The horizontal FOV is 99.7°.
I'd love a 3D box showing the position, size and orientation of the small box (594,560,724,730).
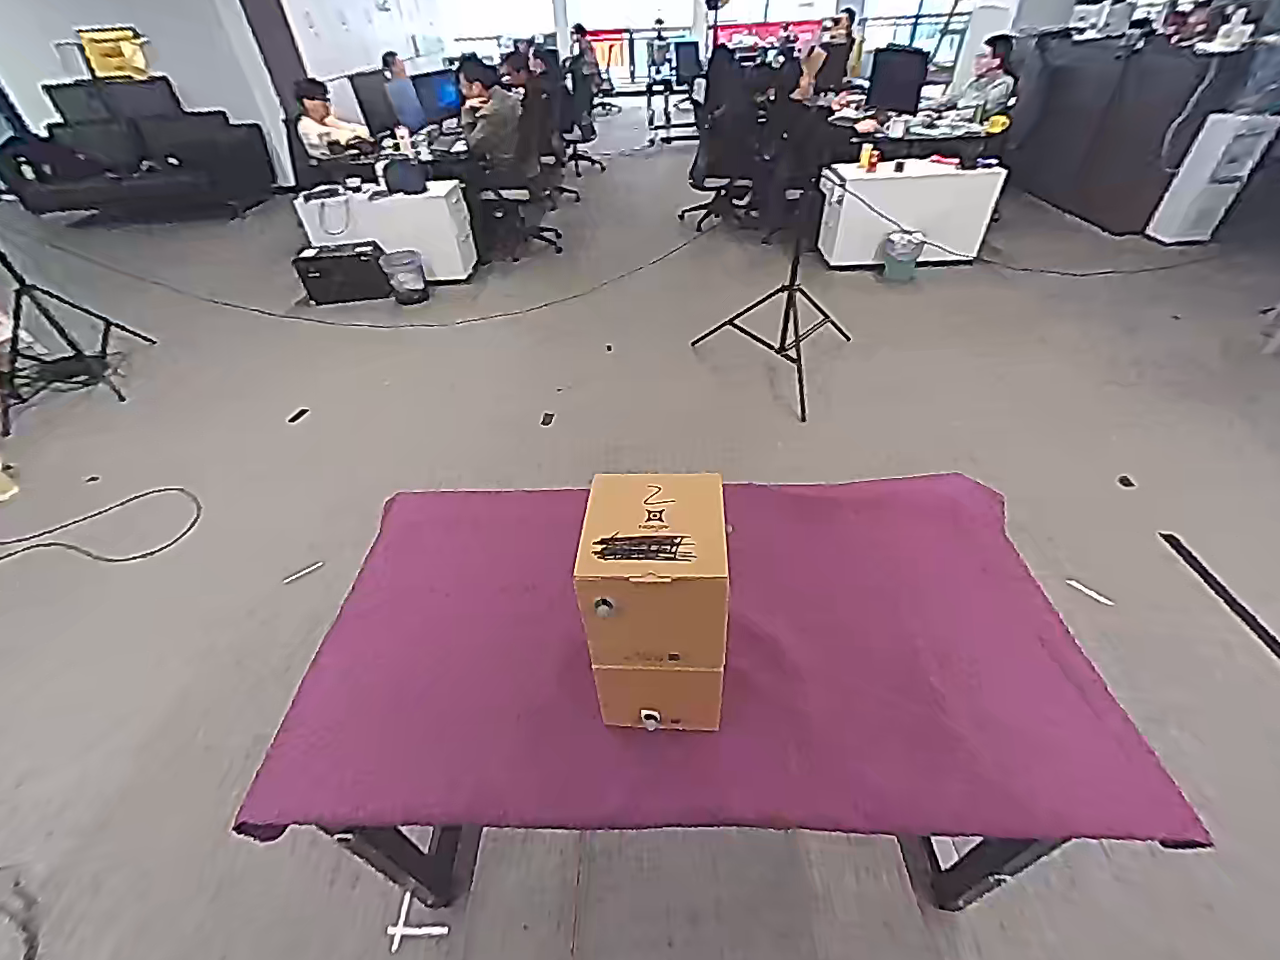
[{"bbox_3d":[0.031,0.237,0.786,0.168,0.176,0.179,-1,41,4],"label":"small box"}]
